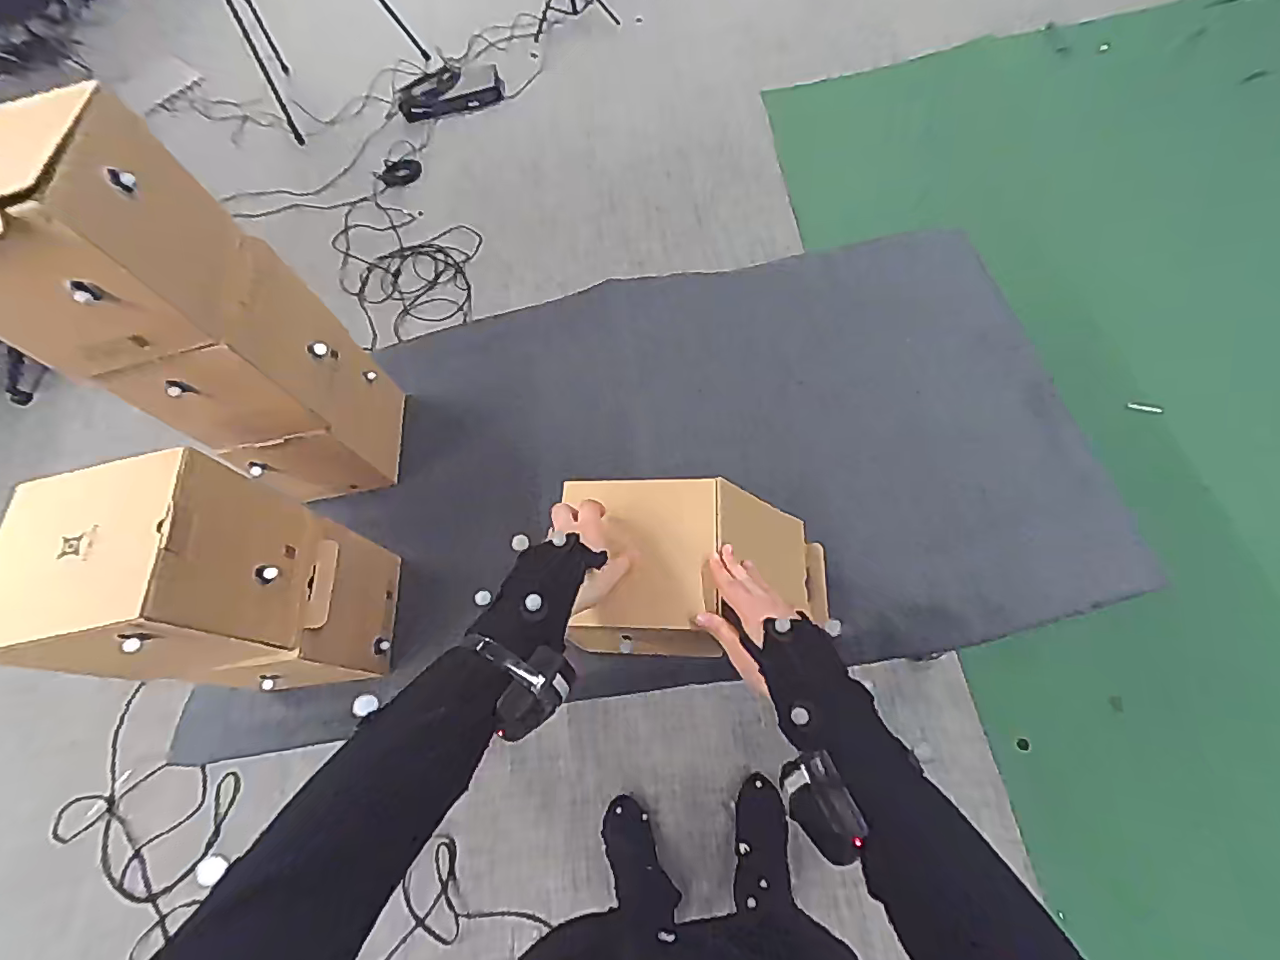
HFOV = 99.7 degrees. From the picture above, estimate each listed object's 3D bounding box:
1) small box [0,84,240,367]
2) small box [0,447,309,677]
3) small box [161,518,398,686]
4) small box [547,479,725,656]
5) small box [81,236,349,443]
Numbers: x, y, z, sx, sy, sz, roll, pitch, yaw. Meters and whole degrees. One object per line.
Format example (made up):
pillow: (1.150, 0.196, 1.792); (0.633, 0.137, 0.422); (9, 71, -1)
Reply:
small box: (-0.533, -0.229, 0.523); (0.168, 0.176, 0.179); (-13, 62, 2)
small box: (-0.476, 0.093, 0.544); (0.179, 0.176, 0.168); (-13, 63, 4)
small box: (-0.434, 0.162, 0.685); (0.179, 0.176, 0.168); (-9, 64, 6)
small box: (0.009, 0.108, 0.633); (0.179, 0.176, 0.168); (0, 65, 9)
small box: (-0.501, -0.161, 0.667); (0.179, 0.176, 0.168); (-10, 64, 5)
